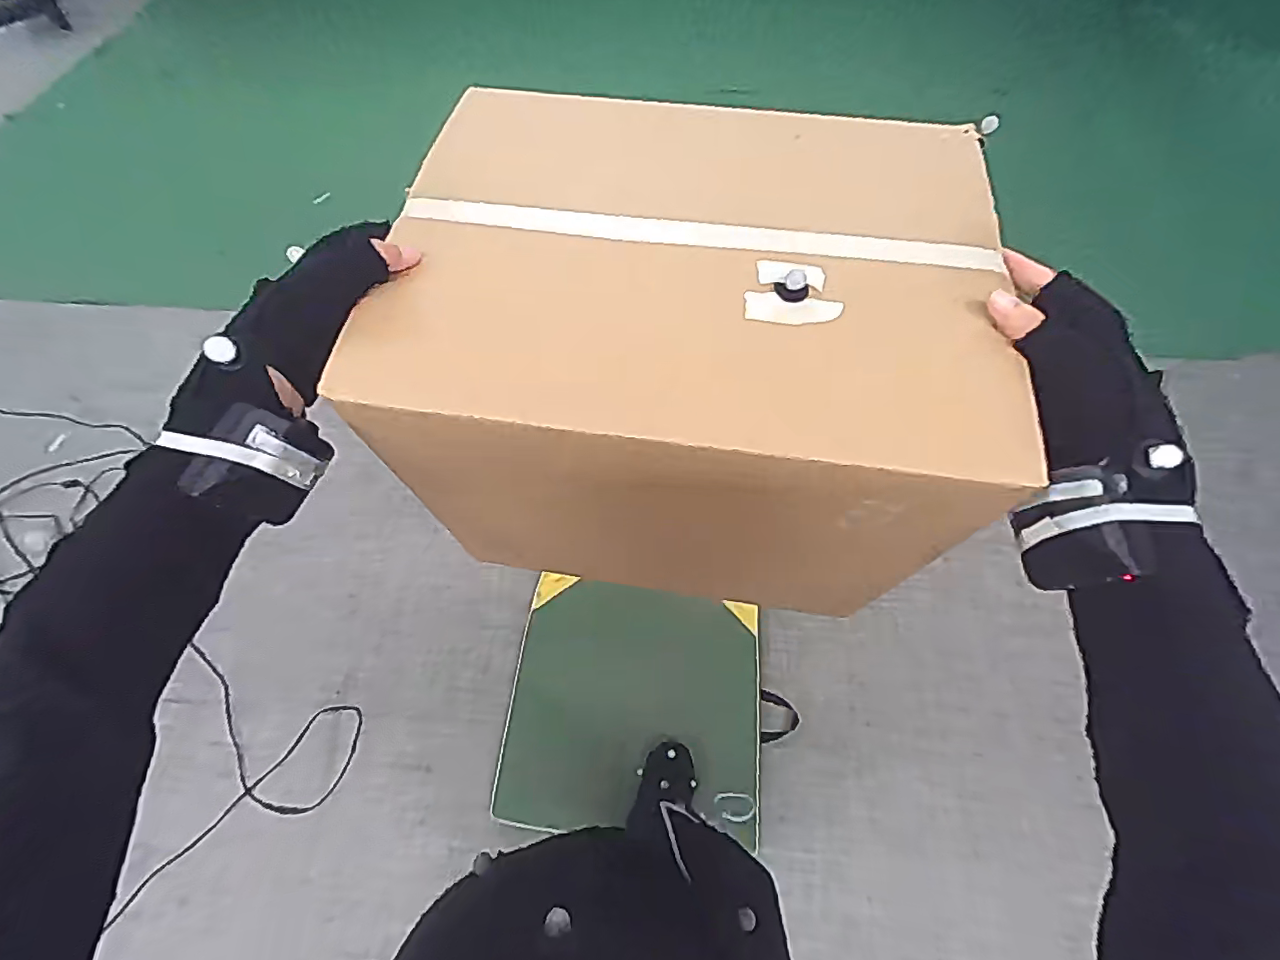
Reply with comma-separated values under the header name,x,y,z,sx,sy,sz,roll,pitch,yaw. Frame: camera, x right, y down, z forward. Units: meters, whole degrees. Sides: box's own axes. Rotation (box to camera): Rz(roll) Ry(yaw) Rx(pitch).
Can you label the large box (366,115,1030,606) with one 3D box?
name,x,y,z,sx,sy,sz,roll,pitch,yaw
large box,0.045,-0.089,0.517,0.408,0.320,0.320,8,64,4
